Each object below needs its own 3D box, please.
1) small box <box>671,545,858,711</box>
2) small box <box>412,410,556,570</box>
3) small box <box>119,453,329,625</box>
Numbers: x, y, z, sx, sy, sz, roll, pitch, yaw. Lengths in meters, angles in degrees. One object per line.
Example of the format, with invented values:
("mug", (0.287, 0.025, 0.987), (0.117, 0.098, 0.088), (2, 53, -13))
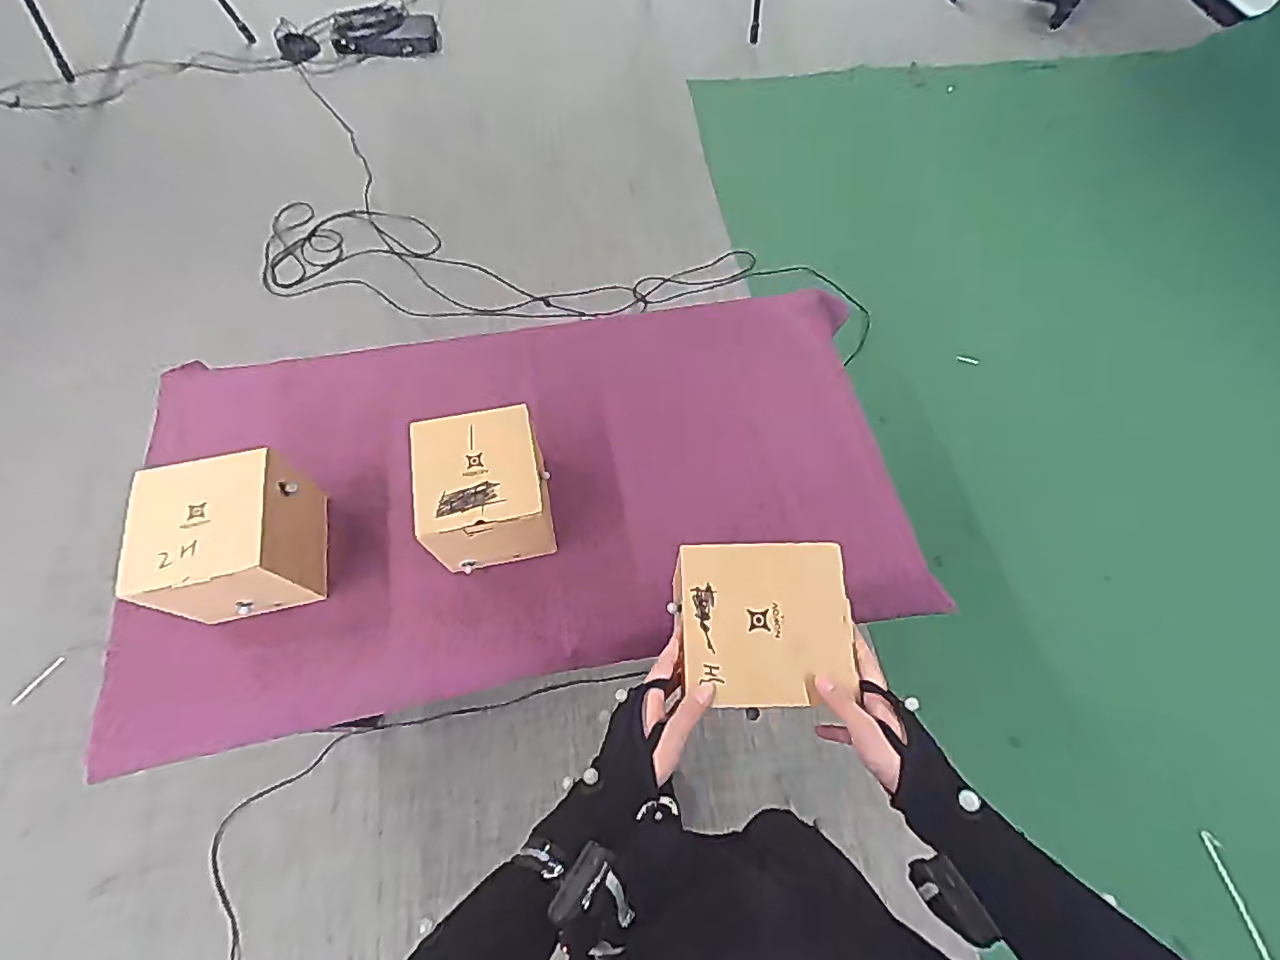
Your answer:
("small box", (0.129, 0.176, 0.631), (0.179, 0.176, 0.168), (0, 68, 1))
("small box", (-0.225, 0.024, 0.803), (0.168, 0.176, 0.179), (-10, 64, -6))
("small box", (-0.564, 0.088, 0.762), (0.168, 0.176, 0.179), (-11, 65, -7))
